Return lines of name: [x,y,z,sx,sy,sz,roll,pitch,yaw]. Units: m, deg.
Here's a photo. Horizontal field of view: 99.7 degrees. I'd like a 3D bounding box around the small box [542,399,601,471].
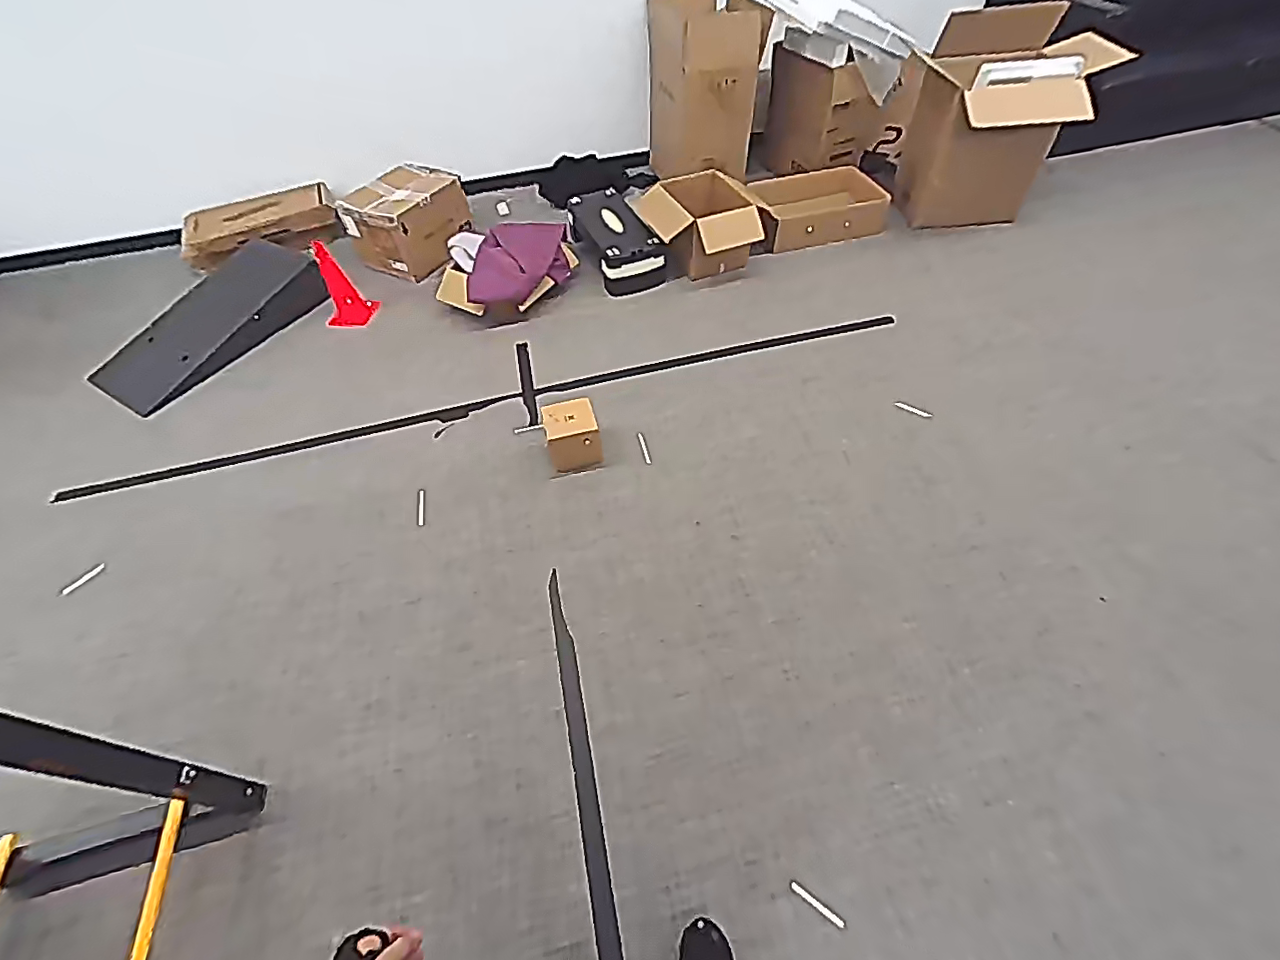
small box: [-0.238,-0.157,1.920,0.179,0.176,0.168,-14,52,-7]
